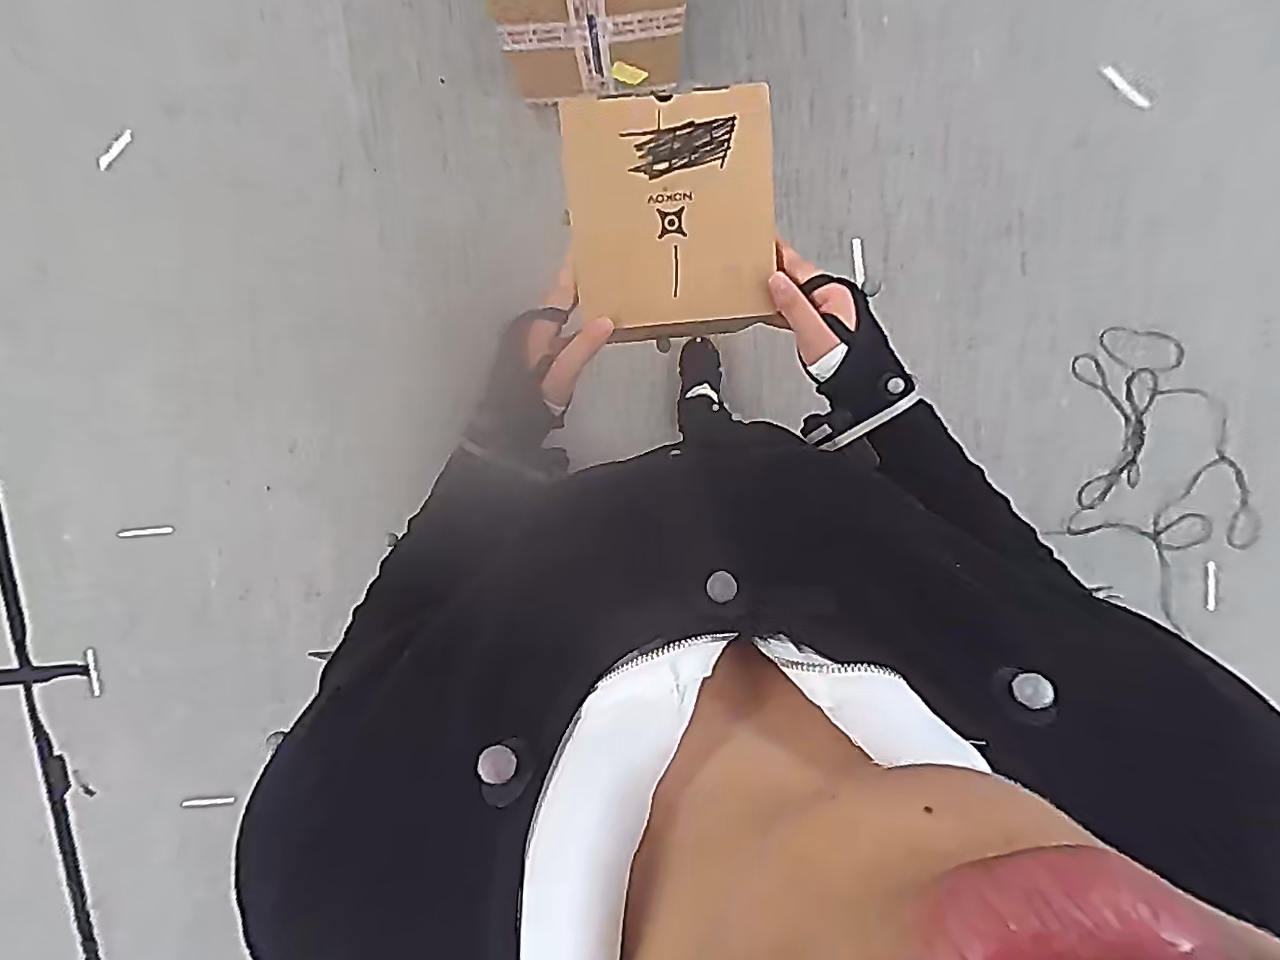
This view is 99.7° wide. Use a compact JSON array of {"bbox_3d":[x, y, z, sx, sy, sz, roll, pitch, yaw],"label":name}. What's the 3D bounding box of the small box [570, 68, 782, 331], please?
[{"bbox_3d":[0.028,-0.243,0.510,0.168,0.176,0.179,-5,101,-1],"label":"small box"}]
